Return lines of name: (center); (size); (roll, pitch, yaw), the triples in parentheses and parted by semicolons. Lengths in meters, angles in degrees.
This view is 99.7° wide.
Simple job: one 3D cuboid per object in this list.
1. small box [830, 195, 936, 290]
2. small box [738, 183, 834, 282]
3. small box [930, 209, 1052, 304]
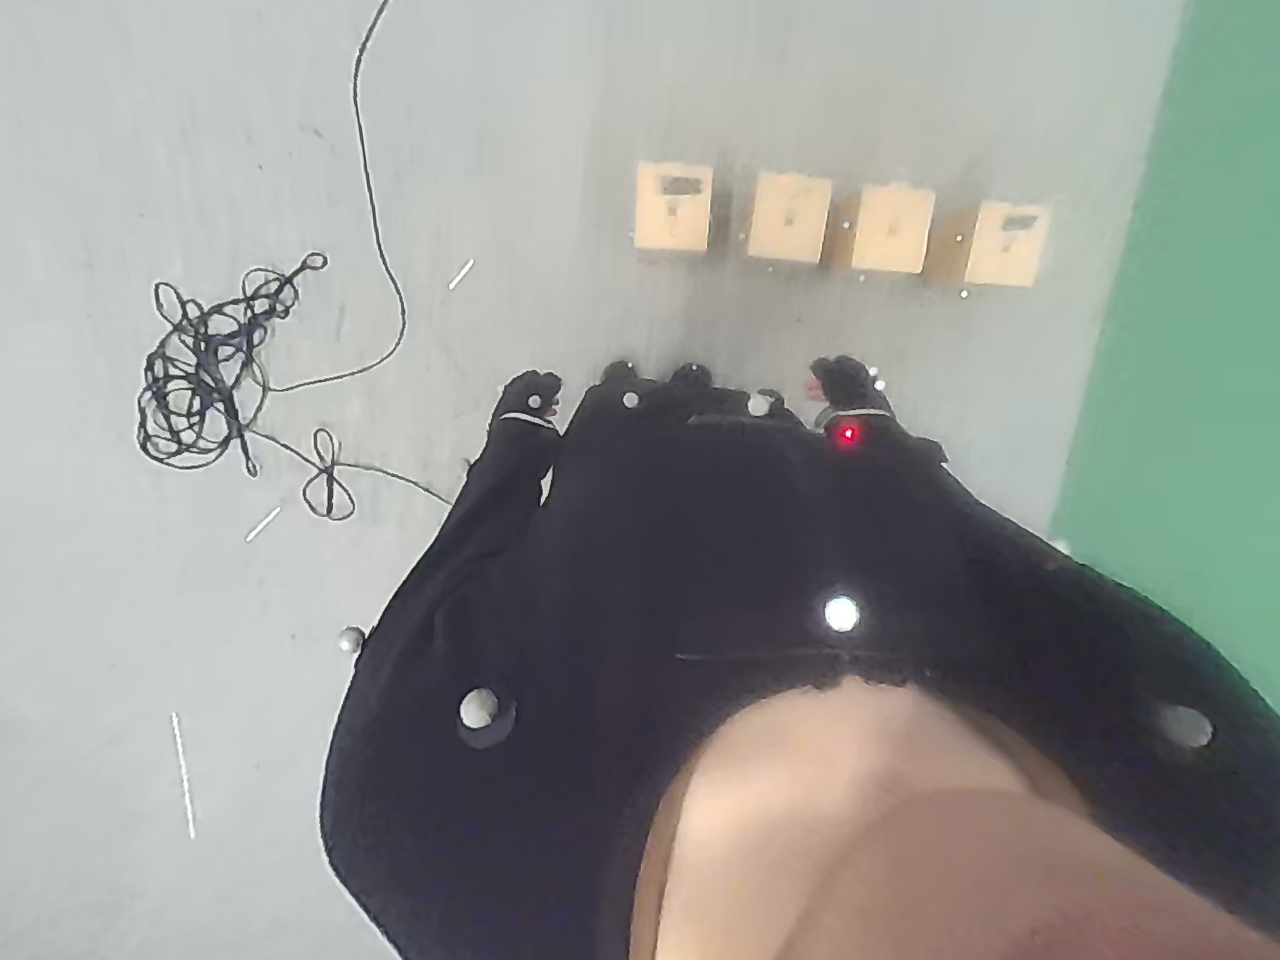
small box: (0.565, -0.554, 1.284); (0.168, 0.176, 0.179); (3, 102, -2)
small box: (0.334, -0.572, 1.273); (0.168, 0.176, 0.179); (5, 102, -3)
small box: (0.827, -0.527, 1.294); (0.168, 0.176, 0.179); (4, 103, -2)
